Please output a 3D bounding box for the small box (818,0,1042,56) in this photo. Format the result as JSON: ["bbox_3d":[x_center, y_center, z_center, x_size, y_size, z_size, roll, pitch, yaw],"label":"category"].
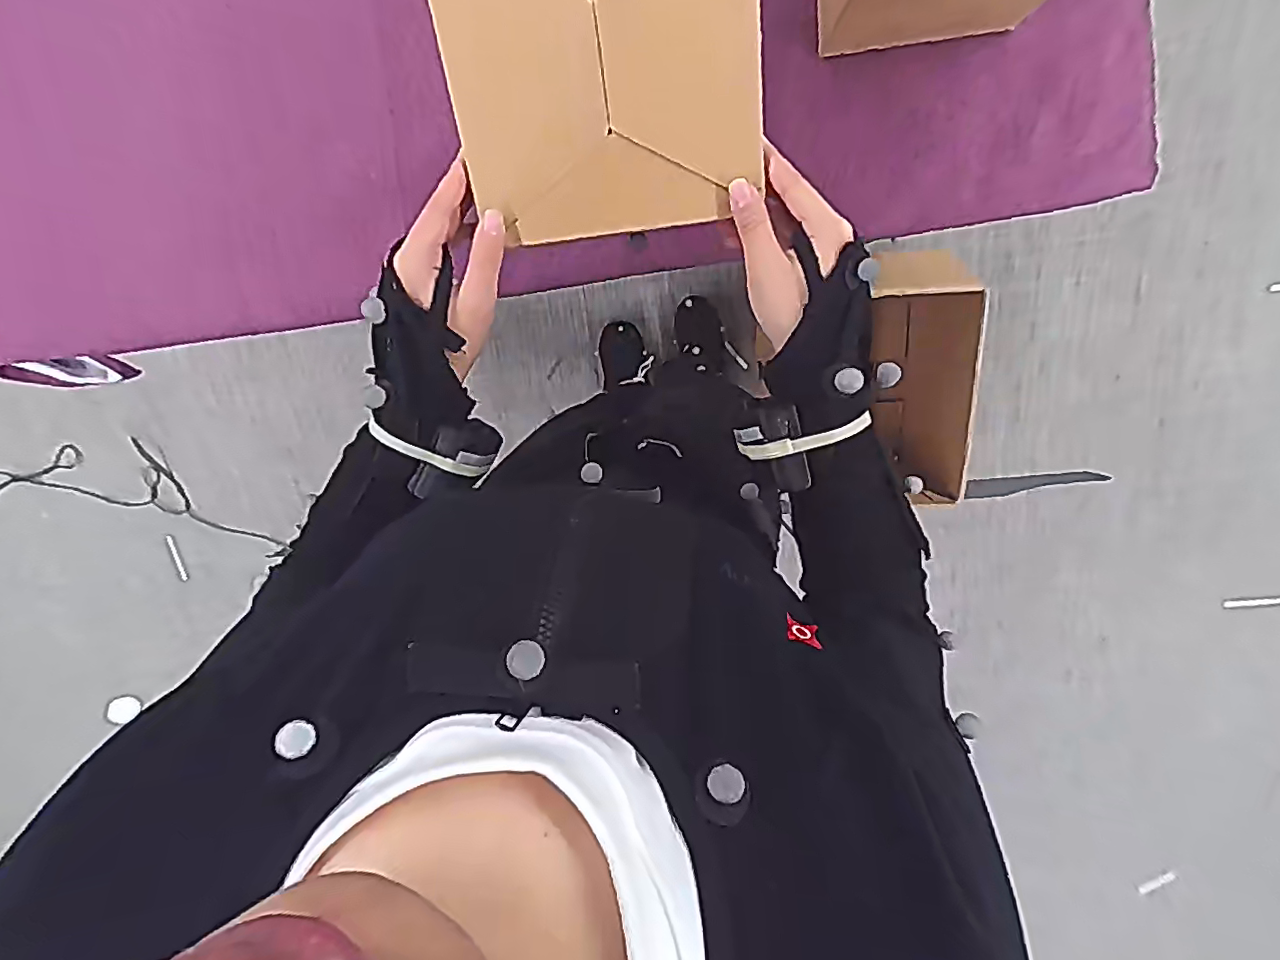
[{"bbox_3d":[0.244,-0.455,0.400,0.179,0.176,0.168,-5,105,4],"label":"small box"}]

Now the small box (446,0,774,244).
[{"bbox_3d":[-0.016,-0.263,0.371,0.179,0.176,0.168,-6,114,4],"label":"small box"}]
